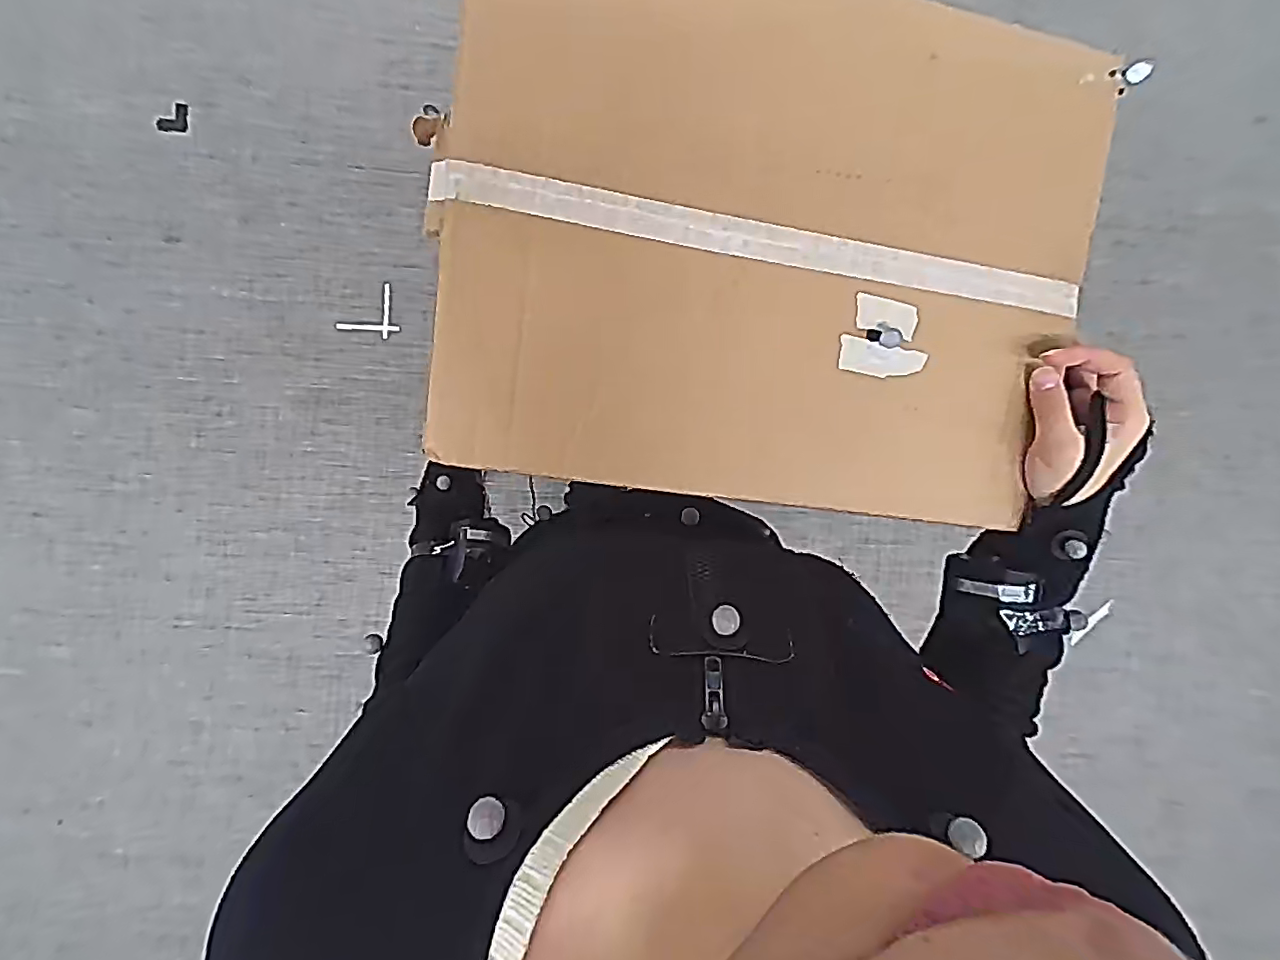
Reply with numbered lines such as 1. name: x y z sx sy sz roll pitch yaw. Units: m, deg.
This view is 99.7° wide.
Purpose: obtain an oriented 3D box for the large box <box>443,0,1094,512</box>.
1. large box: 0.066 -0.163 0.484 0.408 0.320 0.320 7 96 -11
